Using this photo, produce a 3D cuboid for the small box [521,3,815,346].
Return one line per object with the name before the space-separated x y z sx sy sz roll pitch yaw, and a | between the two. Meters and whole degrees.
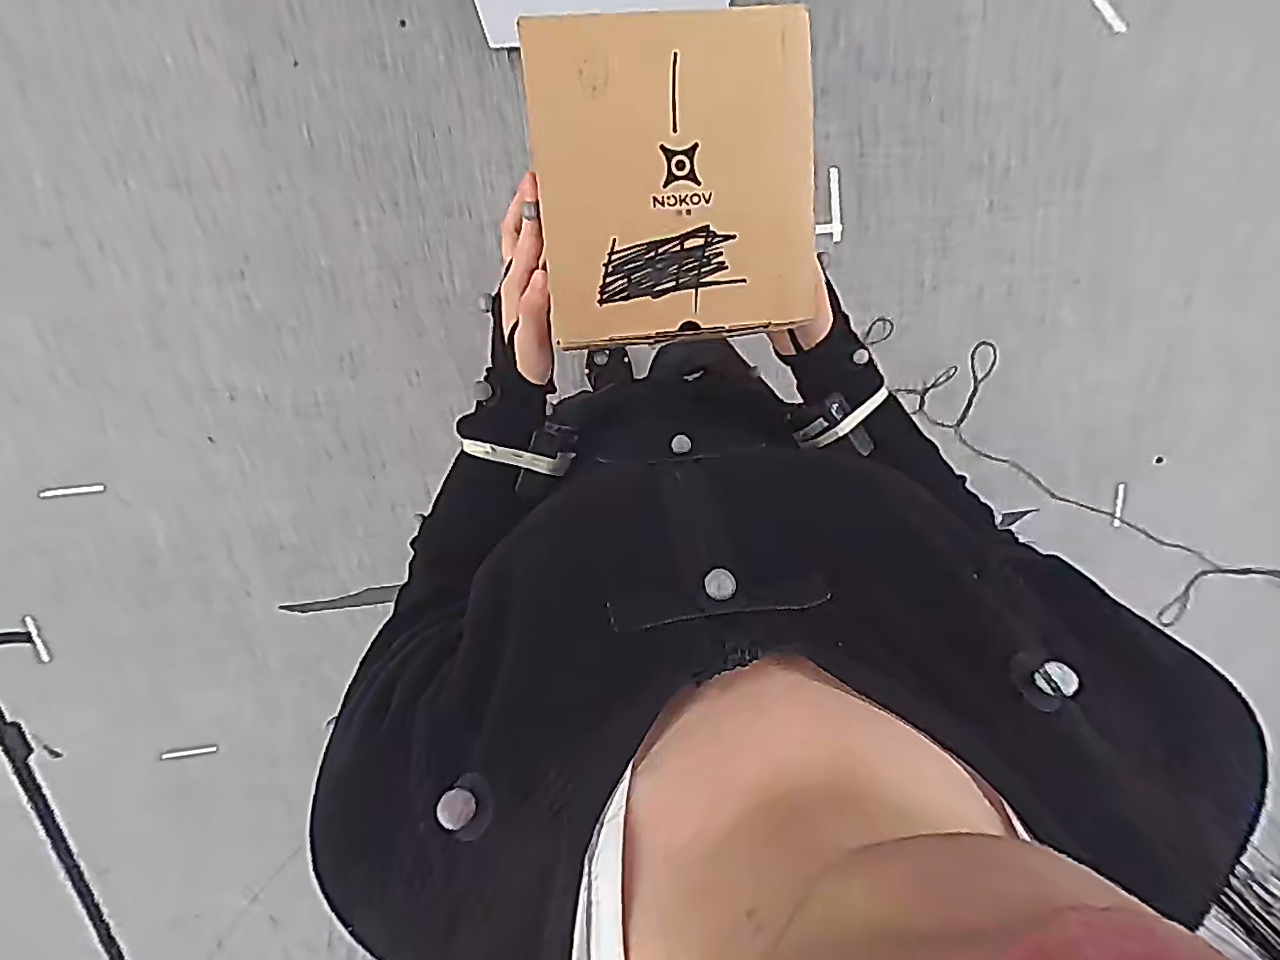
small box | 0.014 -0.192 0.393 0.168 0.176 0.179 -7 102 -6
